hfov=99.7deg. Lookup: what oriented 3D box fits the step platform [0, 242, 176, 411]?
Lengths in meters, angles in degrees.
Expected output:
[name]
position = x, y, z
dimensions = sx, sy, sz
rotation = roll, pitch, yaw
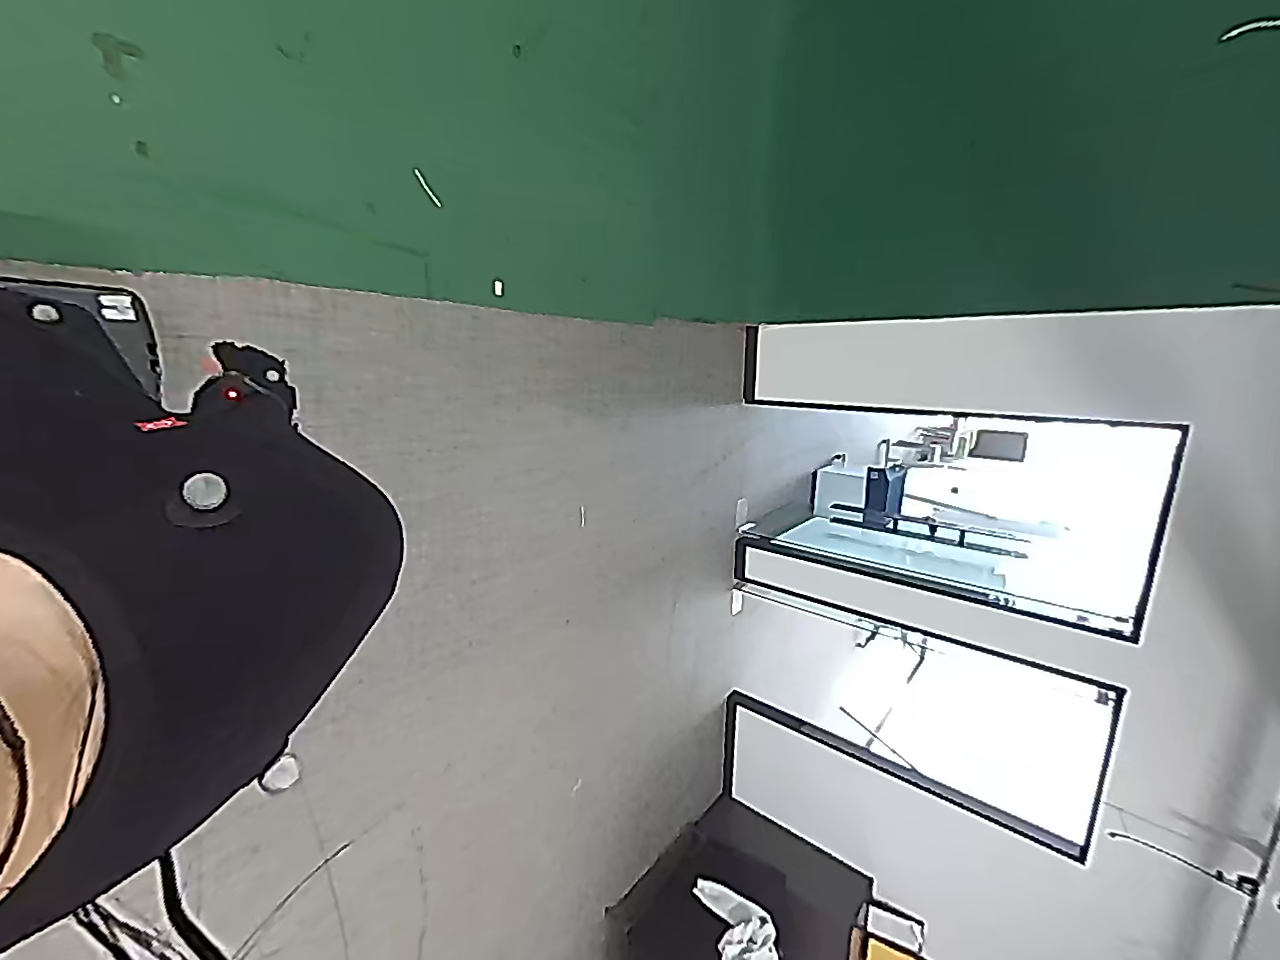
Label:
[step platform]
position = -1.156, -0.237, 0.806
dimensions = 0.684, 0.204, 0.286
rotation = -13, 110, -48
